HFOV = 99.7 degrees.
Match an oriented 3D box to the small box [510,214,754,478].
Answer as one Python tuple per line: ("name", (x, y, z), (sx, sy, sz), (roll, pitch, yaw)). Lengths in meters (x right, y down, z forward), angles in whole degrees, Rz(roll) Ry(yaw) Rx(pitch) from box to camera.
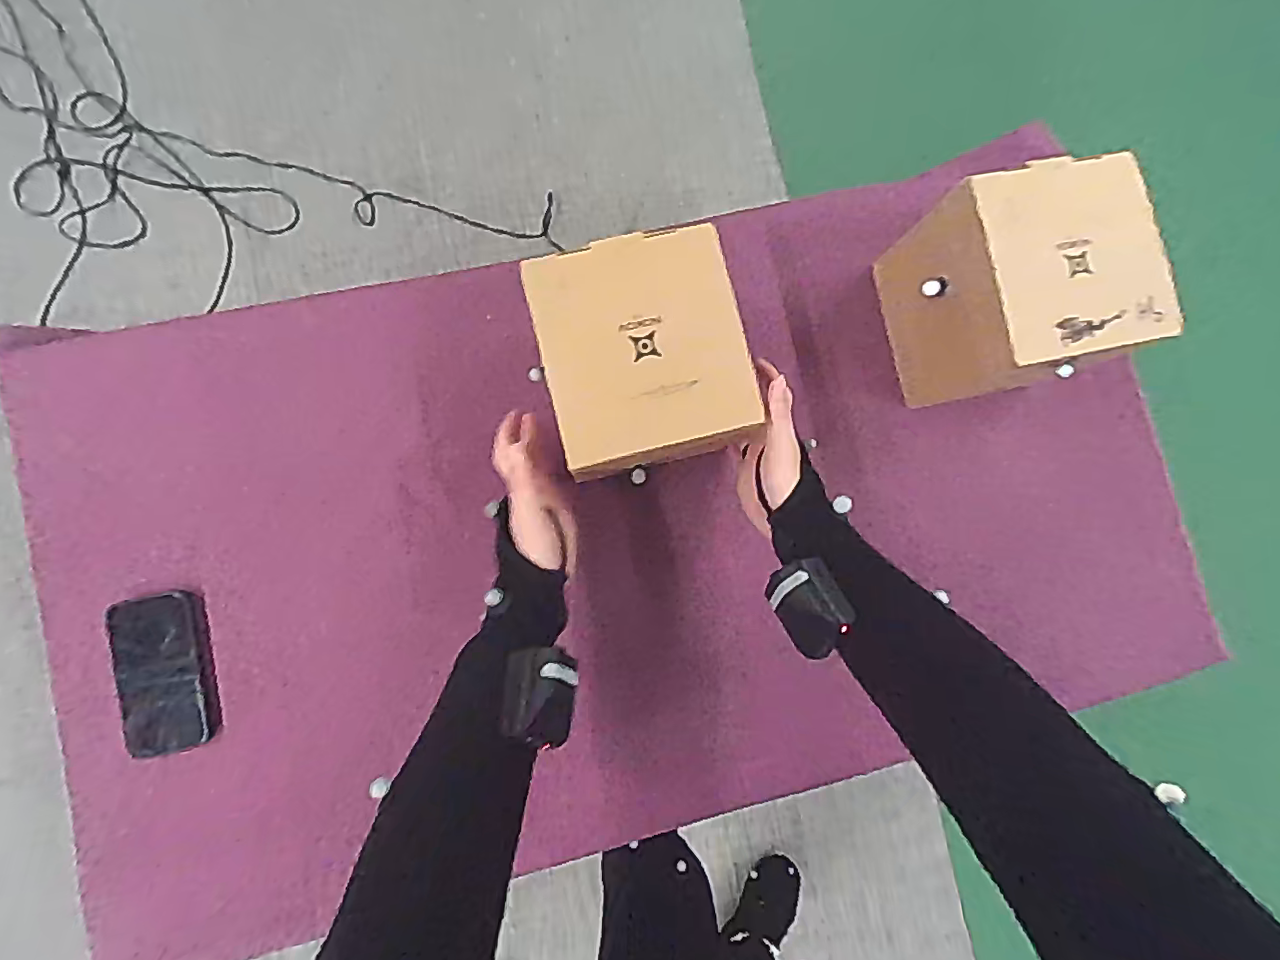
("small box", (-0.013, -0.110, 0.508), (0.168, 0.176, 0.179), (-14, 86, -5))

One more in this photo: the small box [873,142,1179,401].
("small box", (0.364, -0.195, 0.547), (0.168, 0.176, 0.179), (-12, 85, -5))
